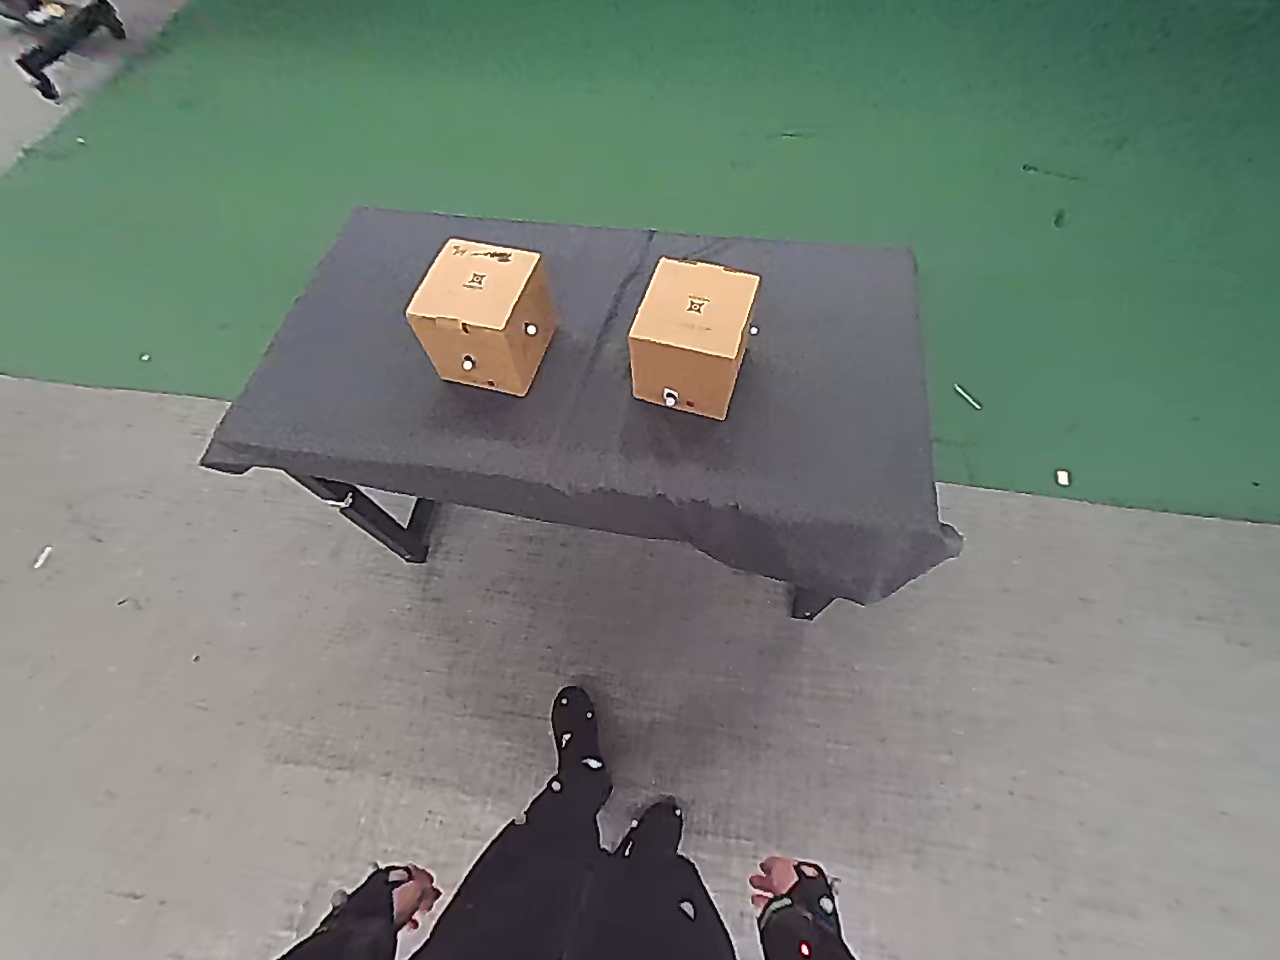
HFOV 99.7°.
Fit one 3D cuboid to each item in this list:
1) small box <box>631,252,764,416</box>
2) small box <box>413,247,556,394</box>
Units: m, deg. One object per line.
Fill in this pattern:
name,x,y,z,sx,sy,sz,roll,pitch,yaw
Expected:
small box,0.093,-0.236,0.891,0.168,0.176,0.179,16,65,12
small box,-0.256,-0.271,0.941,0.168,0.176,0.179,10,63,8
